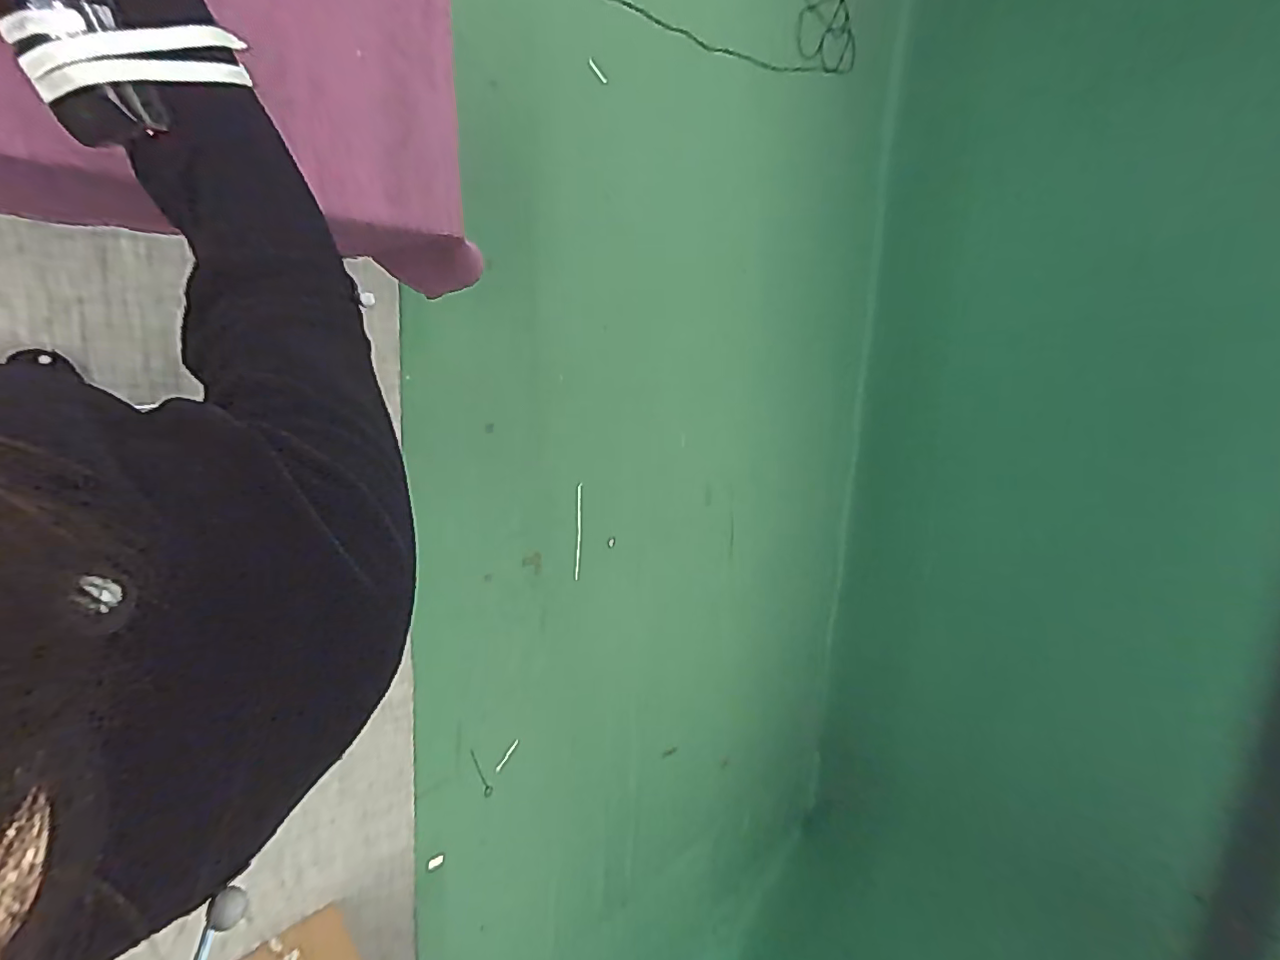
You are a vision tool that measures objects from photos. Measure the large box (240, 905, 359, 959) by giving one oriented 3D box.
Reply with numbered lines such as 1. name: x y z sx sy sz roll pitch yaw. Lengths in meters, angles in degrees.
1. large box: -0.903 1.465 1.411 0.320 0.320 0.408 -10 107 -45
